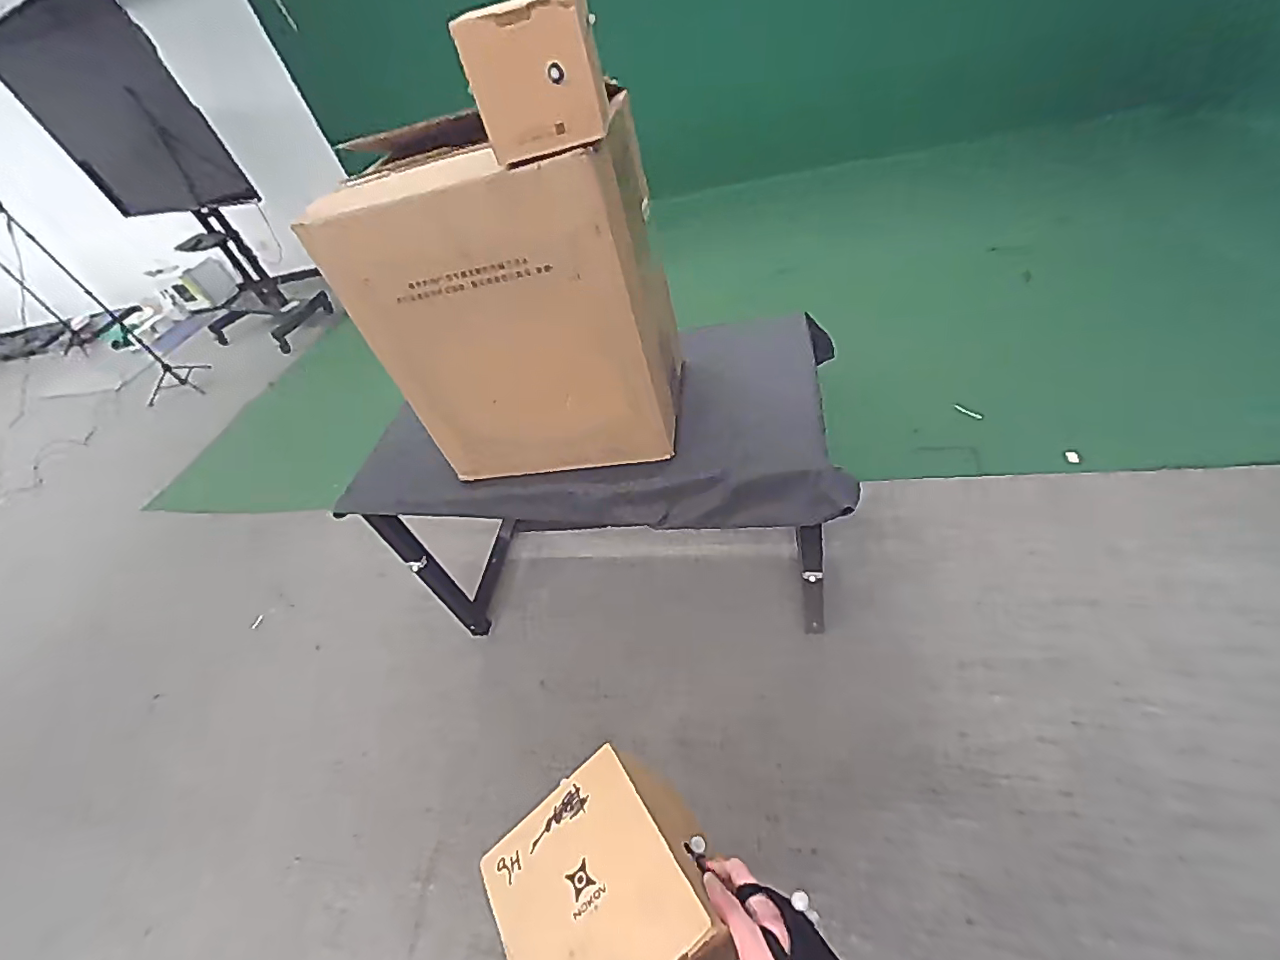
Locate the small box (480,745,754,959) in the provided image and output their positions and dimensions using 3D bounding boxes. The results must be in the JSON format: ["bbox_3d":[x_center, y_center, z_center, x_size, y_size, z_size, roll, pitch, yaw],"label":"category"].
[{"bbox_3d":[-0.016,0.397,0.523,0.168,0.176,0.179,-41,46,-6],"label":"small box"}]

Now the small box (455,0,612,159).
[{"bbox_3d":[-0.140,-0.588,0.785,0.168,0.176,0.179,-8,44,8],"label":"small box"}]
